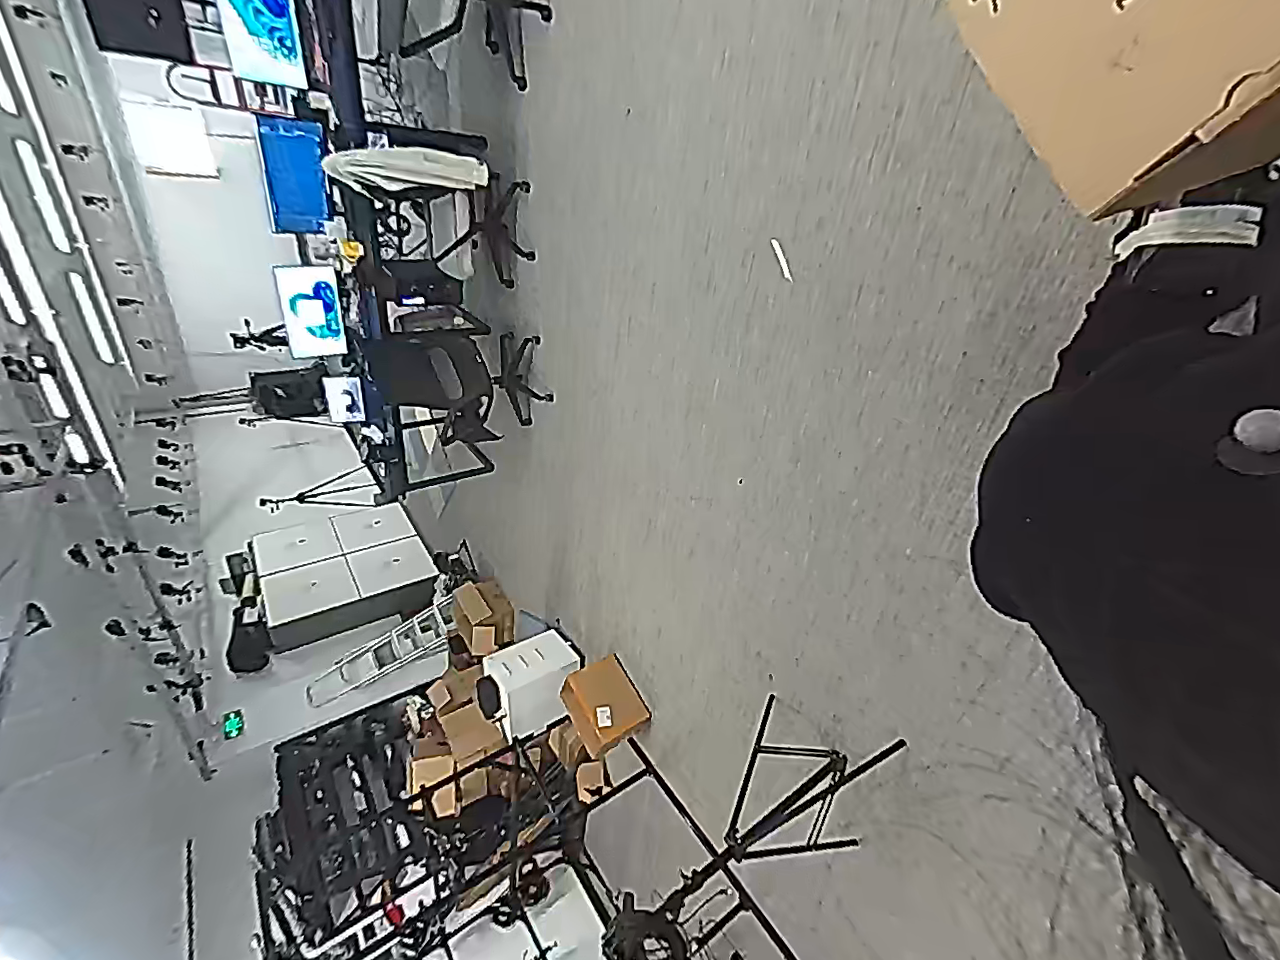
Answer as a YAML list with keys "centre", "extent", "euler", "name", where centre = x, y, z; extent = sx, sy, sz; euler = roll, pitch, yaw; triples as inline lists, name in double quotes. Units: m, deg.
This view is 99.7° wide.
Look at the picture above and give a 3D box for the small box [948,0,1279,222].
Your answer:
- centre: [0.311, -0.273, 0.266]
  extent: [0.168, 0.176, 0.179]
  euler: [114, 134, -74]
  name: "small box"
